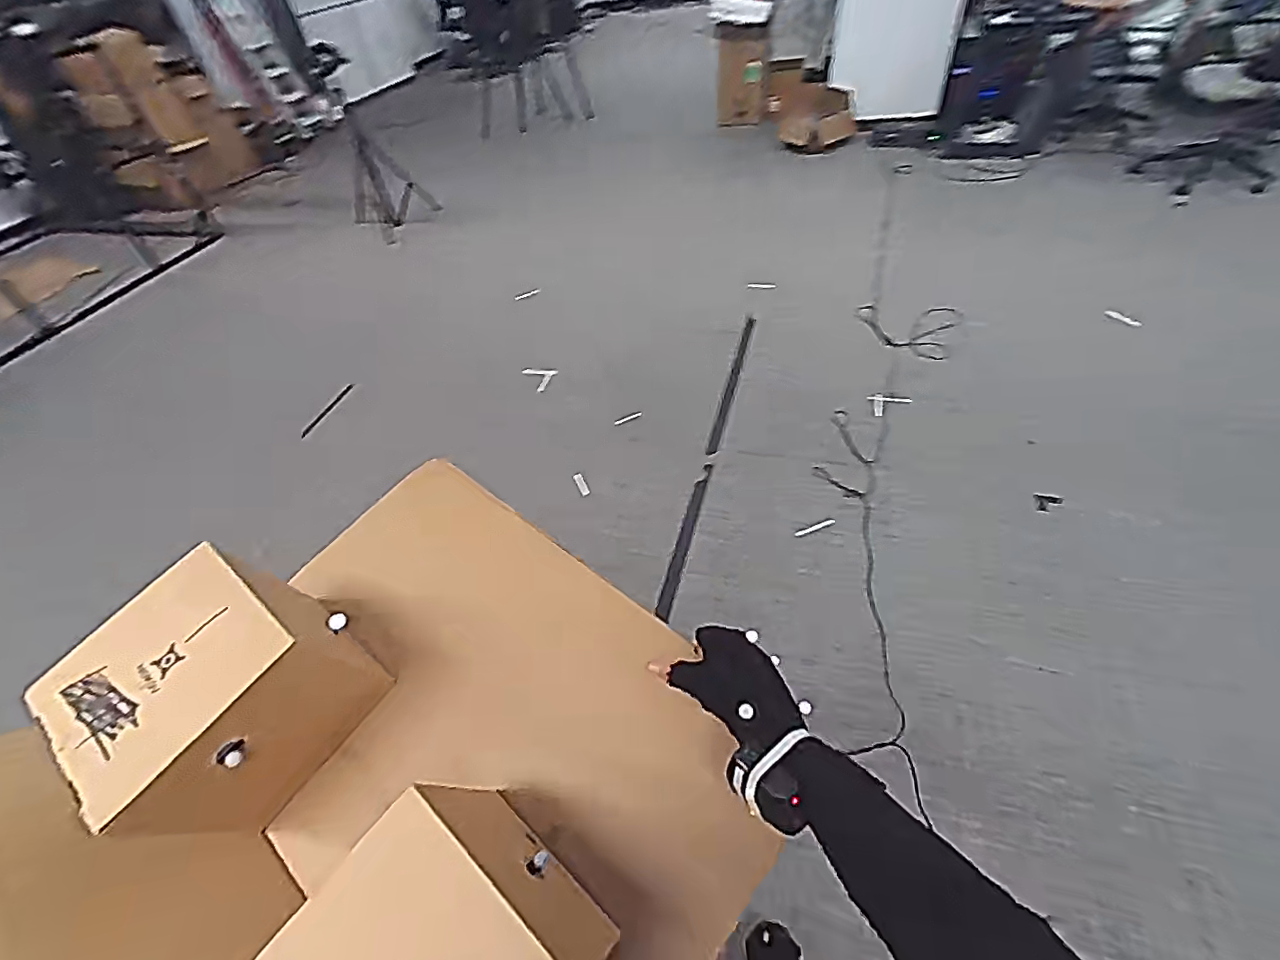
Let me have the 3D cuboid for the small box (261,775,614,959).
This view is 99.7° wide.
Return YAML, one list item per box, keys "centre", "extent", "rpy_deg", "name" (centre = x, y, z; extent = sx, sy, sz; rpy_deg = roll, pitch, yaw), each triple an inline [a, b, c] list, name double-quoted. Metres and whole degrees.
- centre: [-0.136, 0.356, 0.403]
  extent: [0.168, 0.176, 0.179]
  rpy_deg: [35, 70, 26]
  name: "small box"
